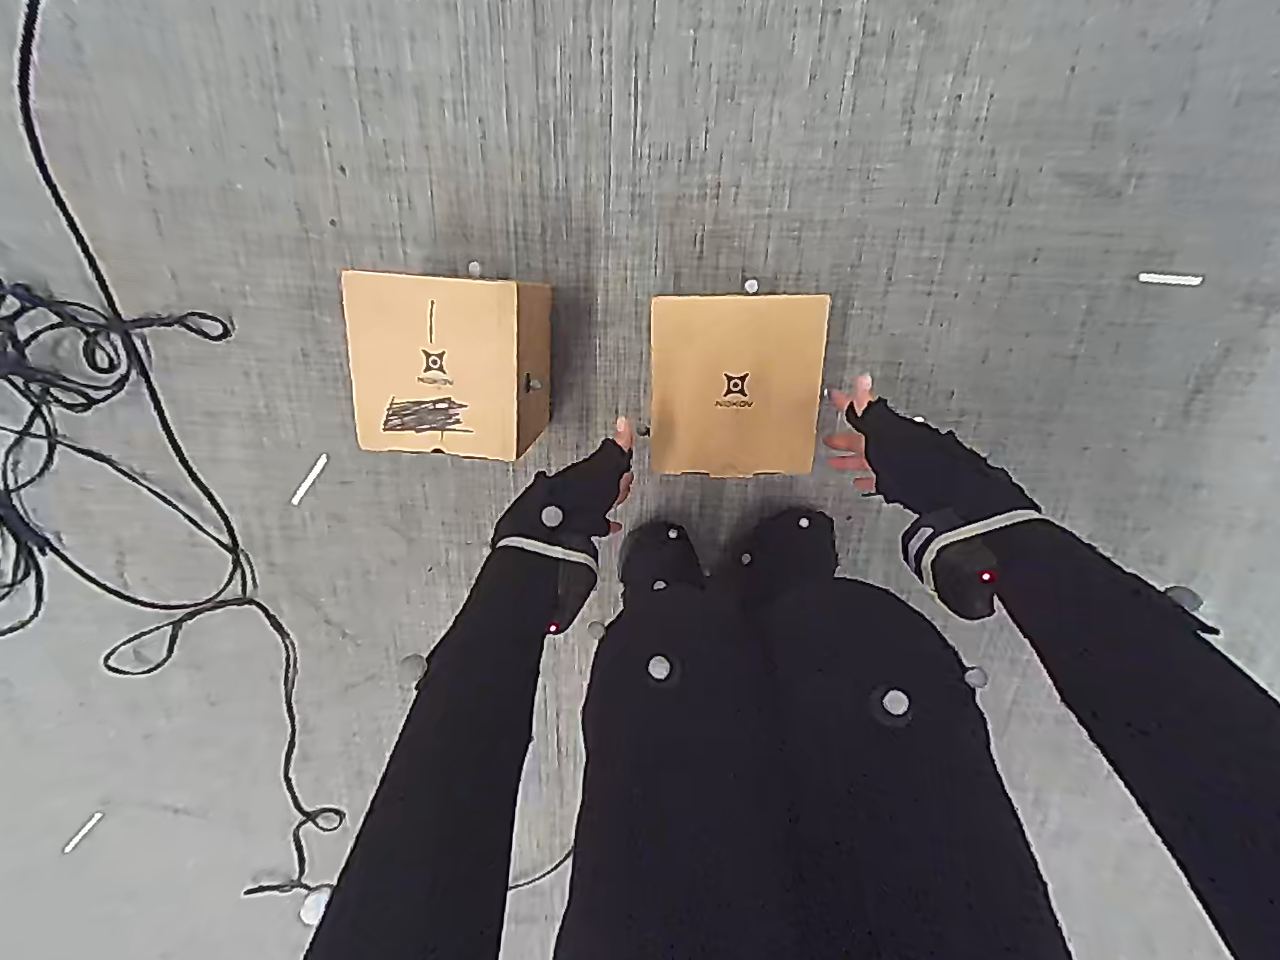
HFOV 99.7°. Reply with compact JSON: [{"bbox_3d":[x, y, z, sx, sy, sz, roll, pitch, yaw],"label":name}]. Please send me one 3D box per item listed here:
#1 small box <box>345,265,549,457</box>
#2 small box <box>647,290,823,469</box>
[{"bbox_3d":[-0.199,-0.139,0.608,0.168,0.176,0.179,5,109,0],"label":"small box"},{"bbox_3d":[0.091,-0.120,0.606,0.168,0.176,0.179,0,110,2],"label":"small box"}]
